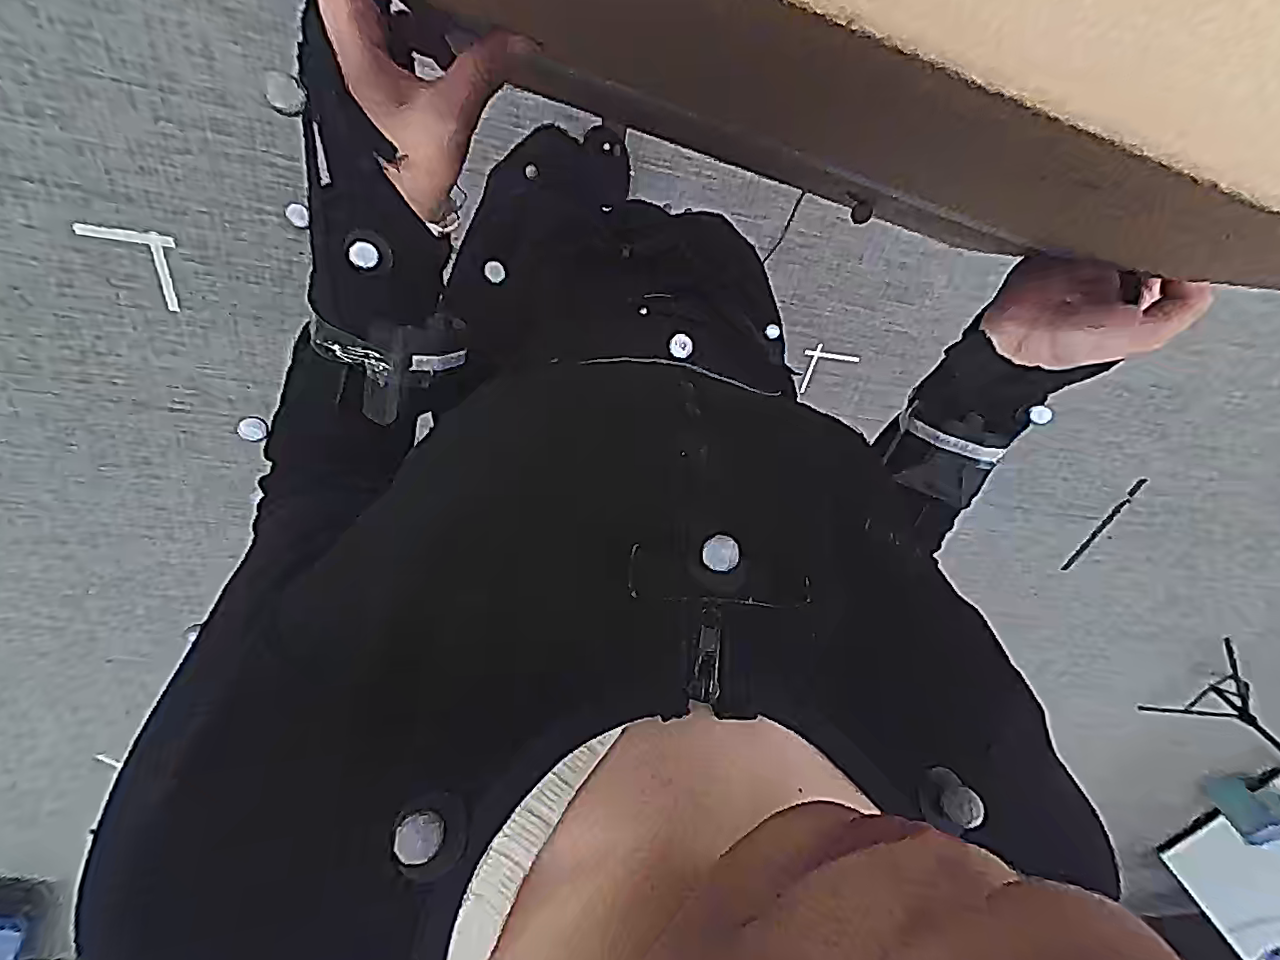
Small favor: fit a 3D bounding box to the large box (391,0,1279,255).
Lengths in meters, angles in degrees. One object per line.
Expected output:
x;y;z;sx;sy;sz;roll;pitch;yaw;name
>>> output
0.113;-0.309;0.203;0.408;0.320;0.320;12;118;-10;large box
